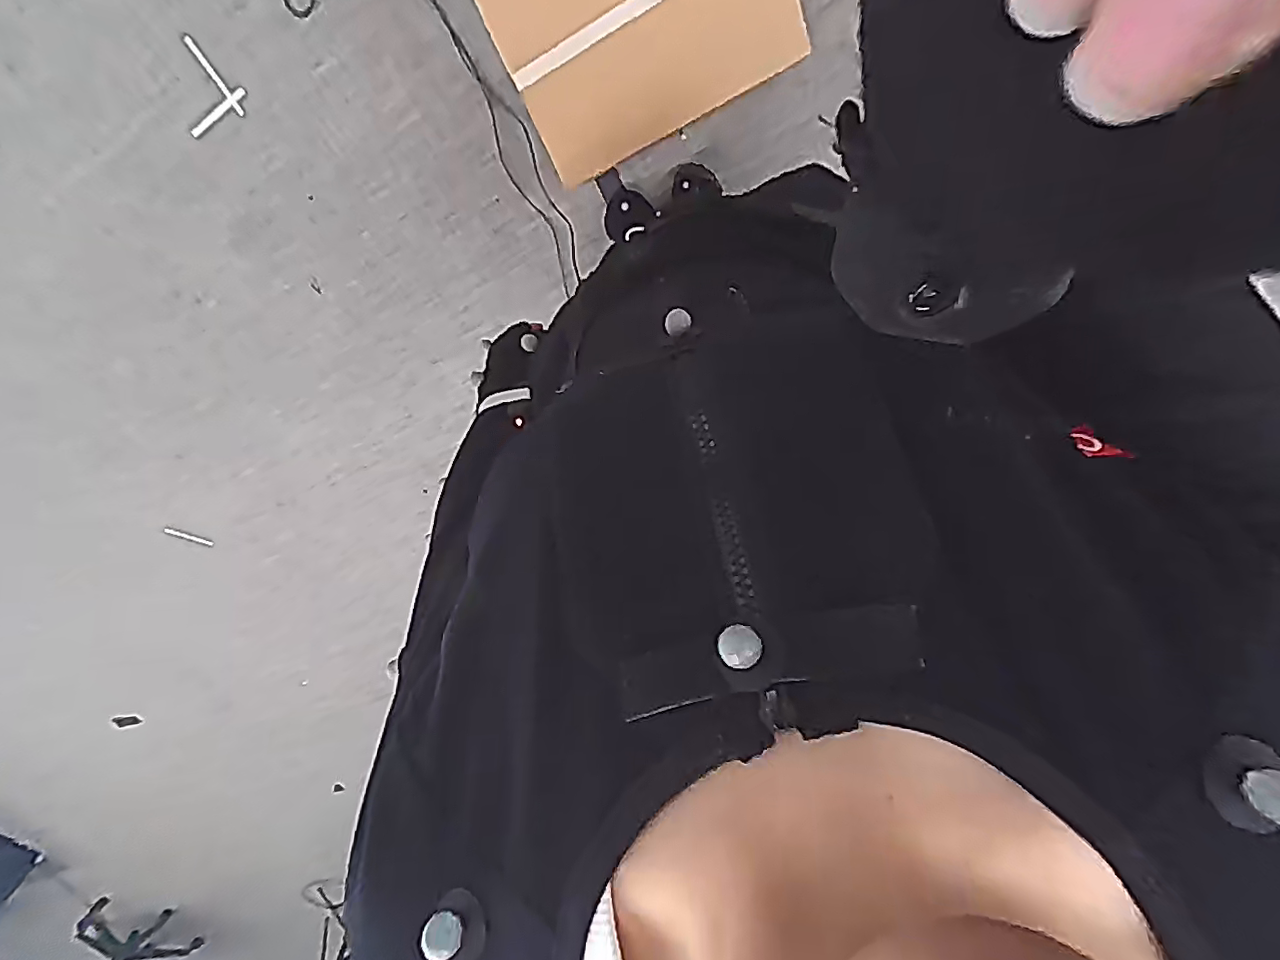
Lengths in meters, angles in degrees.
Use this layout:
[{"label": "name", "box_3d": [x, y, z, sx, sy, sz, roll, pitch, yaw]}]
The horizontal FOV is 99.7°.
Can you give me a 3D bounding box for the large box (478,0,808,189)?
[{"label": "large box", "box_3d": [0.005, -0.734, 0.885, 0.408, 0.320, 0.320, -21, 119, 15]}]
